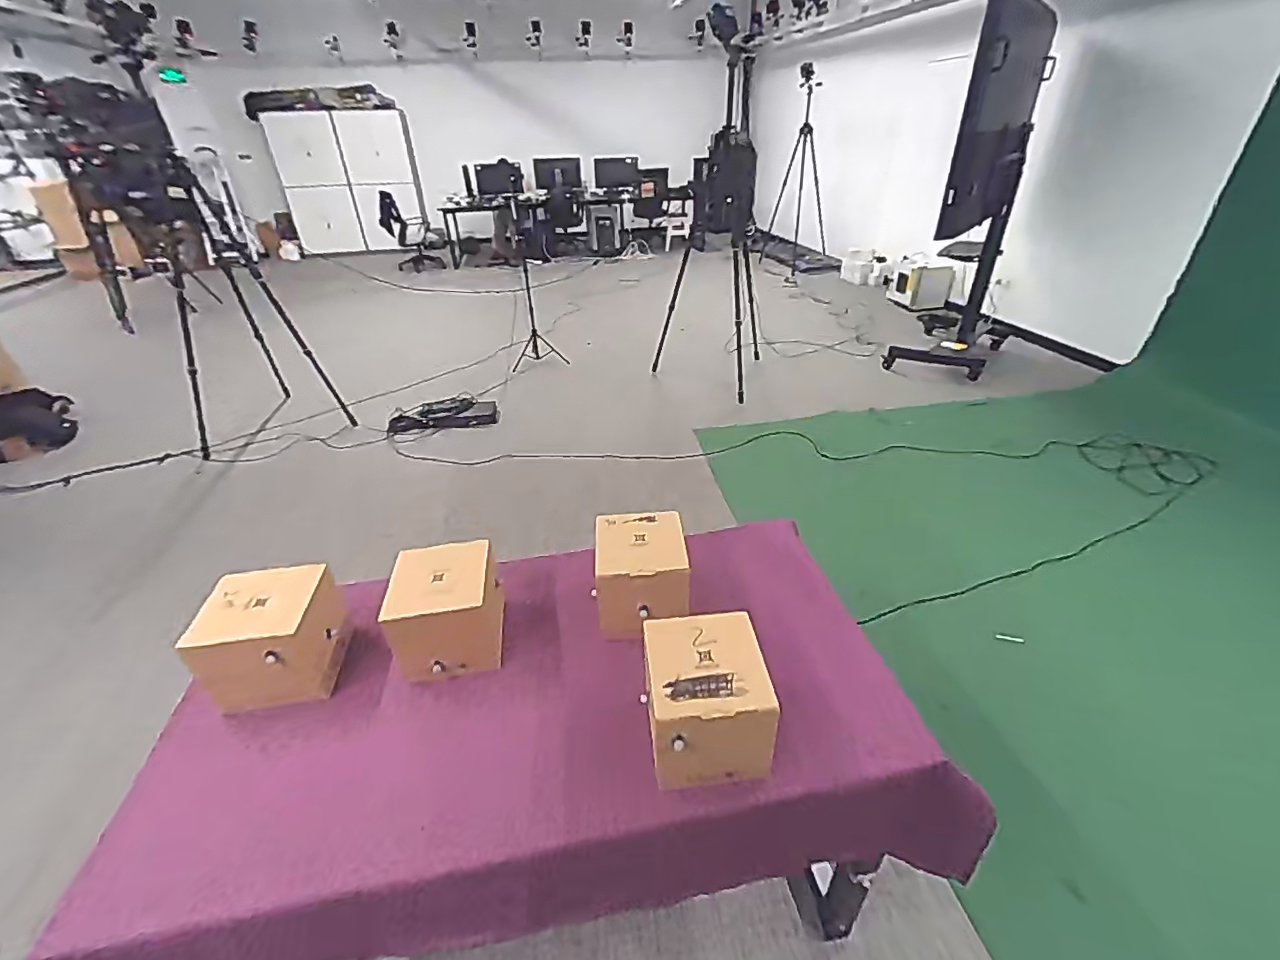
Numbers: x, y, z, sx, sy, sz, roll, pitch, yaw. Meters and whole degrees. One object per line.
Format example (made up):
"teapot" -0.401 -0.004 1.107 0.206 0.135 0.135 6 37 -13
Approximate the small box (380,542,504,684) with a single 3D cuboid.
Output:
"small box" -0.348 0.240 0.987 0.168 0.176 0.179 -7 34 -6

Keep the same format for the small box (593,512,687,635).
"small box" 0.001 0.184 1.045 0.168 0.176 0.179 -4 34 -2

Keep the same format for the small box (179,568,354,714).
"small box" -0.629 0.279 0.943 0.179 0.176 0.168 -7 33 -7
